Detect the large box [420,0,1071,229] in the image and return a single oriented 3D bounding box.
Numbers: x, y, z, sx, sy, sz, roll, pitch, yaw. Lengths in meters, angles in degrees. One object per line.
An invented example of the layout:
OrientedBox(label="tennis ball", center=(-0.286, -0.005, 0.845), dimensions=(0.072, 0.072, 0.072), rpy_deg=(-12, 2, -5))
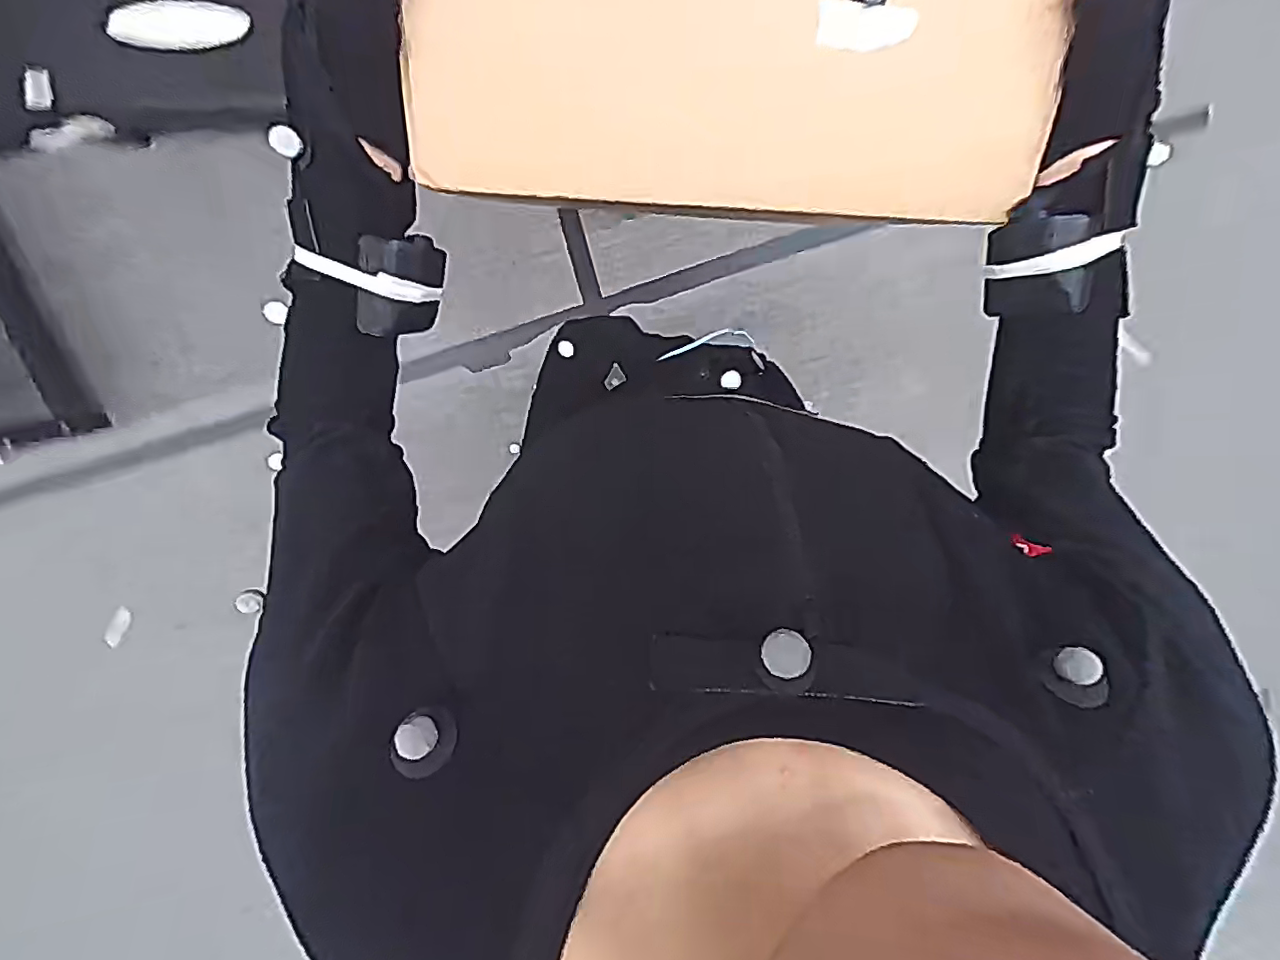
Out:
OrientedBox(label="large box", center=(0.059, -0.388, 0.442), dimensions=(0.408, 0.320, 0.320), rpy_deg=(2, 116, -6))
